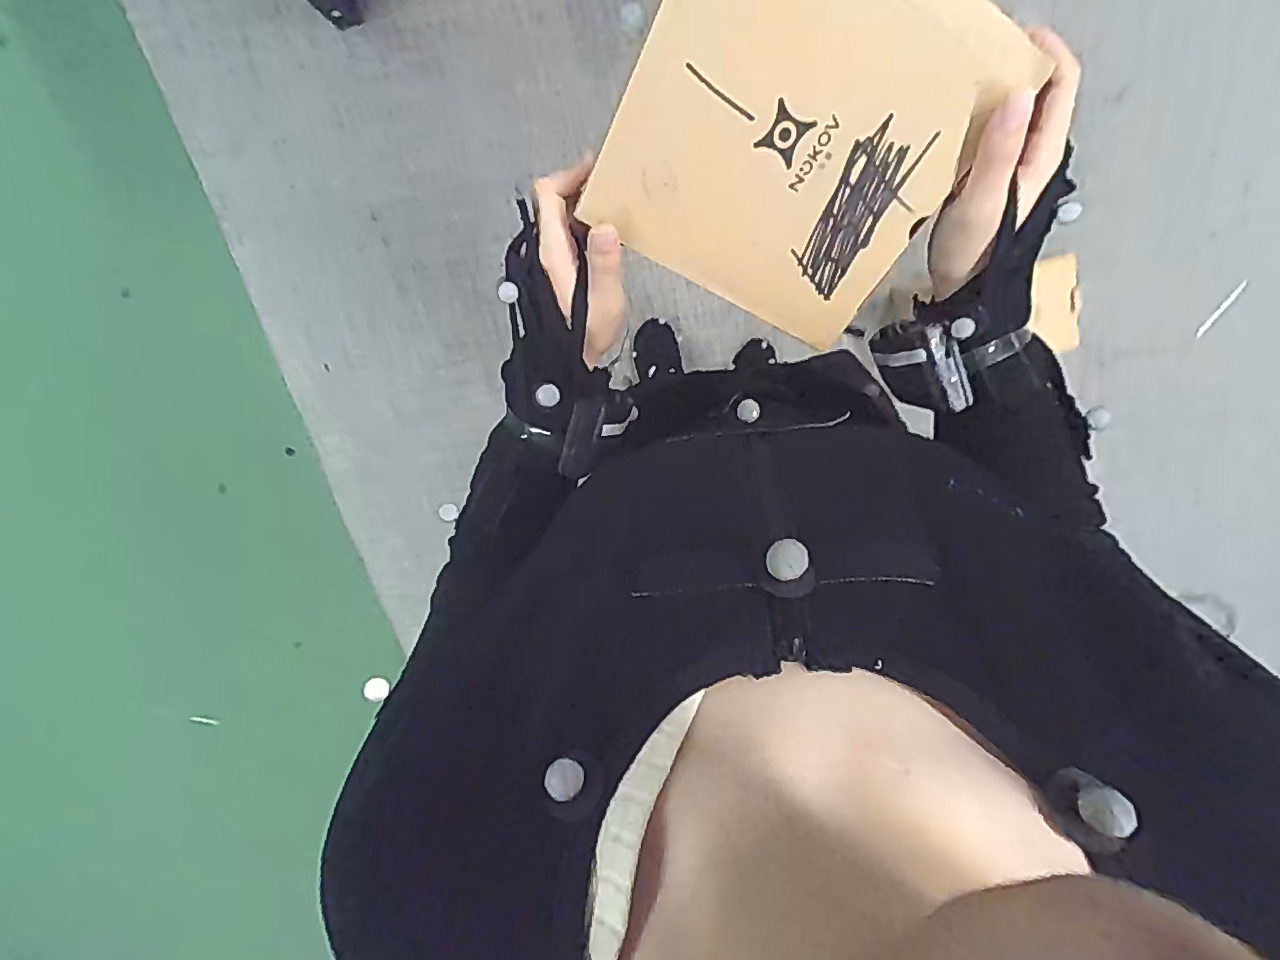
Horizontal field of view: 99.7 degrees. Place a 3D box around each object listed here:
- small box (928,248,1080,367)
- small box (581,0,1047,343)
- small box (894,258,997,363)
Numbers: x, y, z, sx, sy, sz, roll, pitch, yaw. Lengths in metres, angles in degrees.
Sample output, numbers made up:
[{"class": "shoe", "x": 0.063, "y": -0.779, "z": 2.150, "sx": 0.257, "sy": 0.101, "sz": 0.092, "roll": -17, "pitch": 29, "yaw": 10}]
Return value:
[{"class": "small box", "x": 0.684, "y": -0.328, "z": 1.028, "sx": 0.179, "sy": 0.176, "sz": 0.168, "roll": -17, "pitch": 107, "yaw": 6}, {"class": "small box", "x": 0.082, "y": -0.223, "z": 0.335, "sx": 0.179, "sy": 0.176, "sz": 0.168, "roll": 23, "pitch": 126, "yaw": -17}, {"class": "small box", "x": 0.682, "y": -0.369, "z": 1.187, "sx": 0.168, "sy": 0.176, "sz": 0.179, "roll": -16, "pitch": 108, "yaw": 6}]
